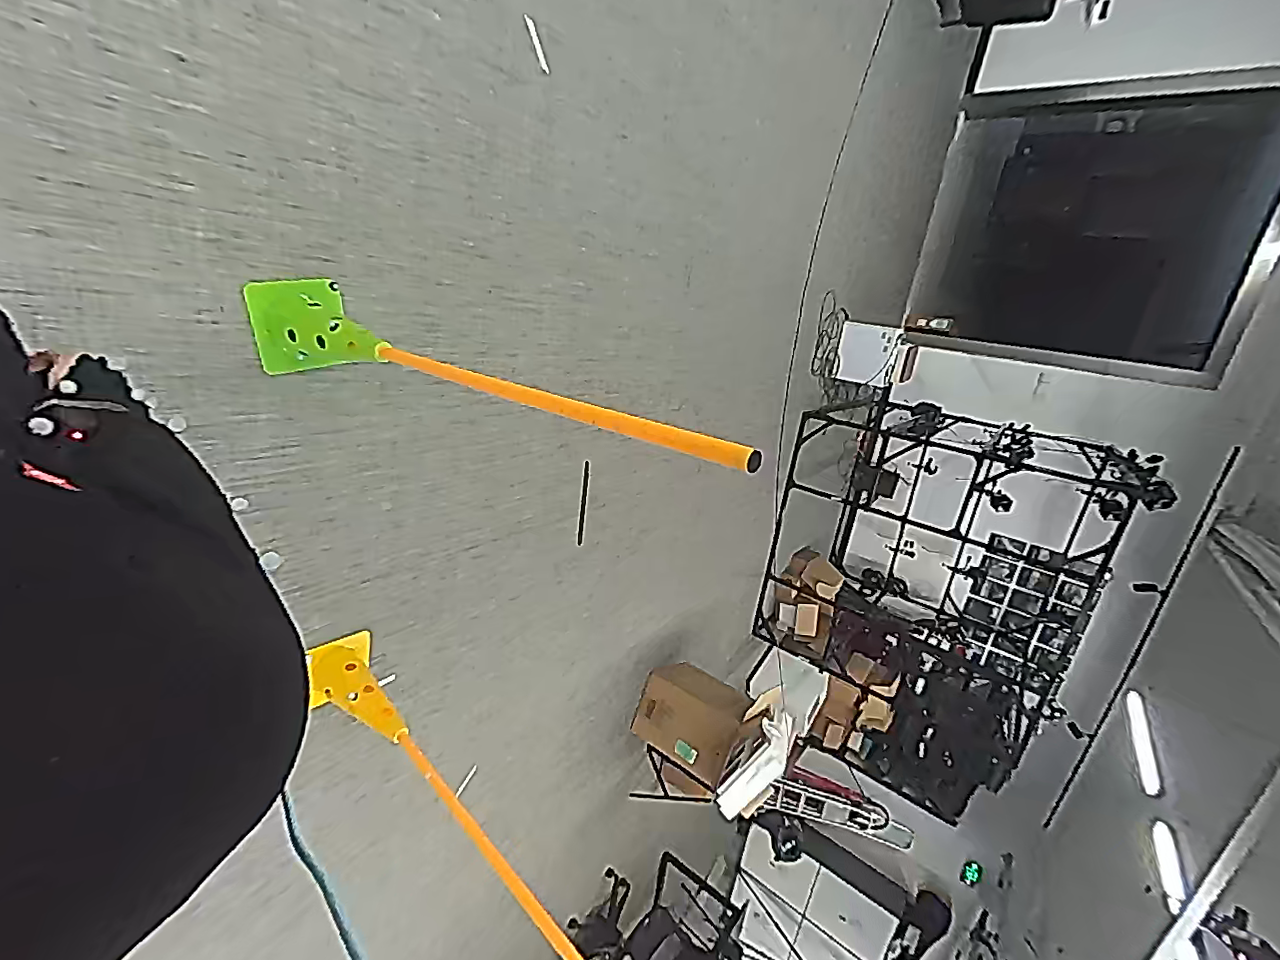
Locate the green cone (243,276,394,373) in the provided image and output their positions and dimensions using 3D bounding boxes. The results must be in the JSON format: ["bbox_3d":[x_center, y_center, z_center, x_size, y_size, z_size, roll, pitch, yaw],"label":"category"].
[{"bbox_3d":[-0.642,-0.301,1.145,0.200,0.368,0.202,-28,131,-46],"label":"green cone"}]
